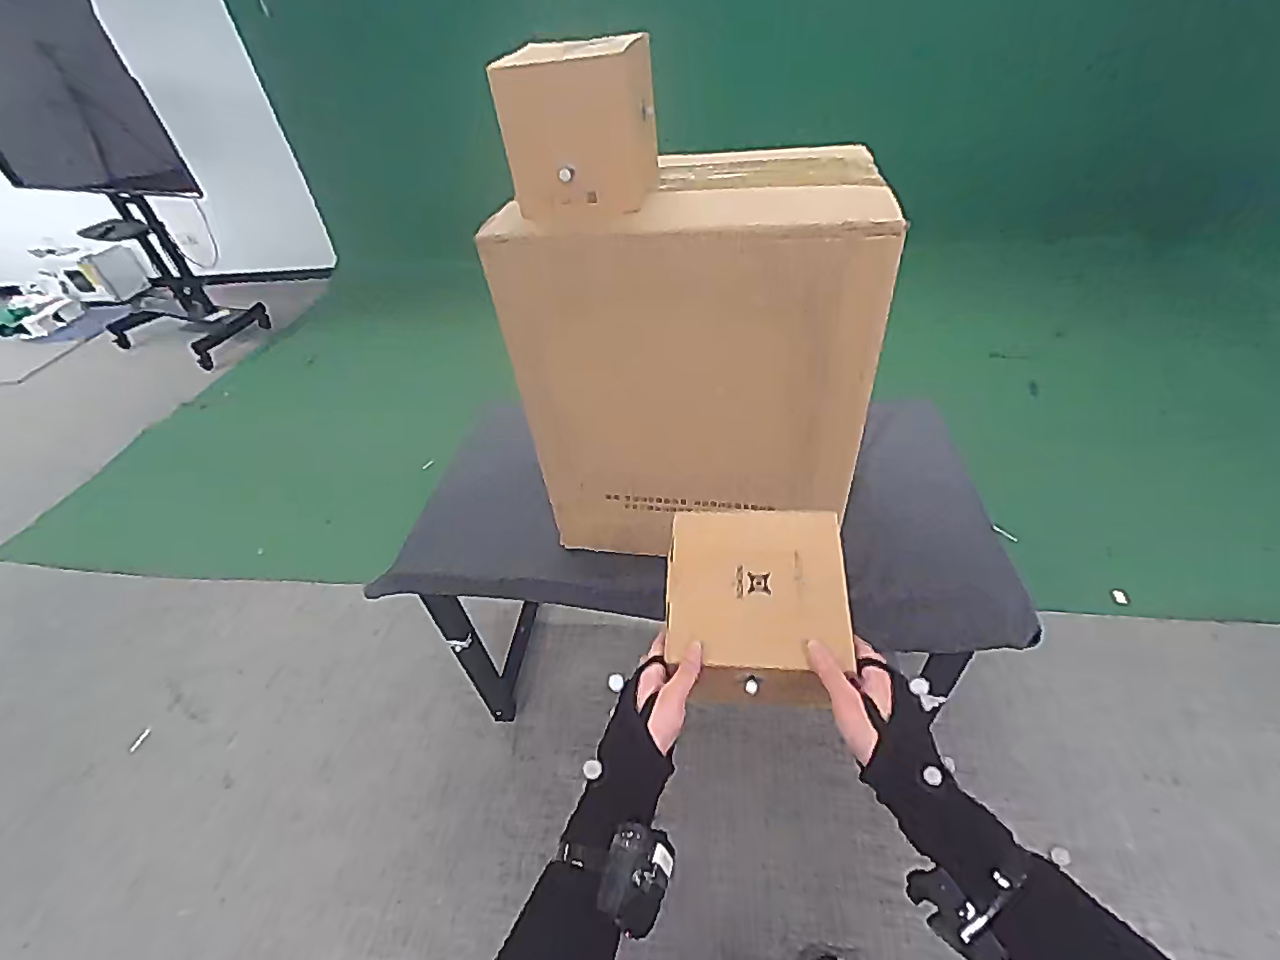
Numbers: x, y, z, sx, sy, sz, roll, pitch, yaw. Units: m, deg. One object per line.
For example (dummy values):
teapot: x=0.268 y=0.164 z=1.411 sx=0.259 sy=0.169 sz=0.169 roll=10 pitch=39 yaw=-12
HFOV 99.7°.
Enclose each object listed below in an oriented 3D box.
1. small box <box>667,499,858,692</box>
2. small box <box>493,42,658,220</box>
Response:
small box: x=0.129 y=0.134 z=0.607 sx=0.179 sy=0.176 sz=0.168 roll=0 pitch=58 yaw=9
small box: x=-0.072 y=-0.468 z=0.730 sx=0.168 sy=0.176 sz=0.179 roll=2 pitch=45 yaw=12
